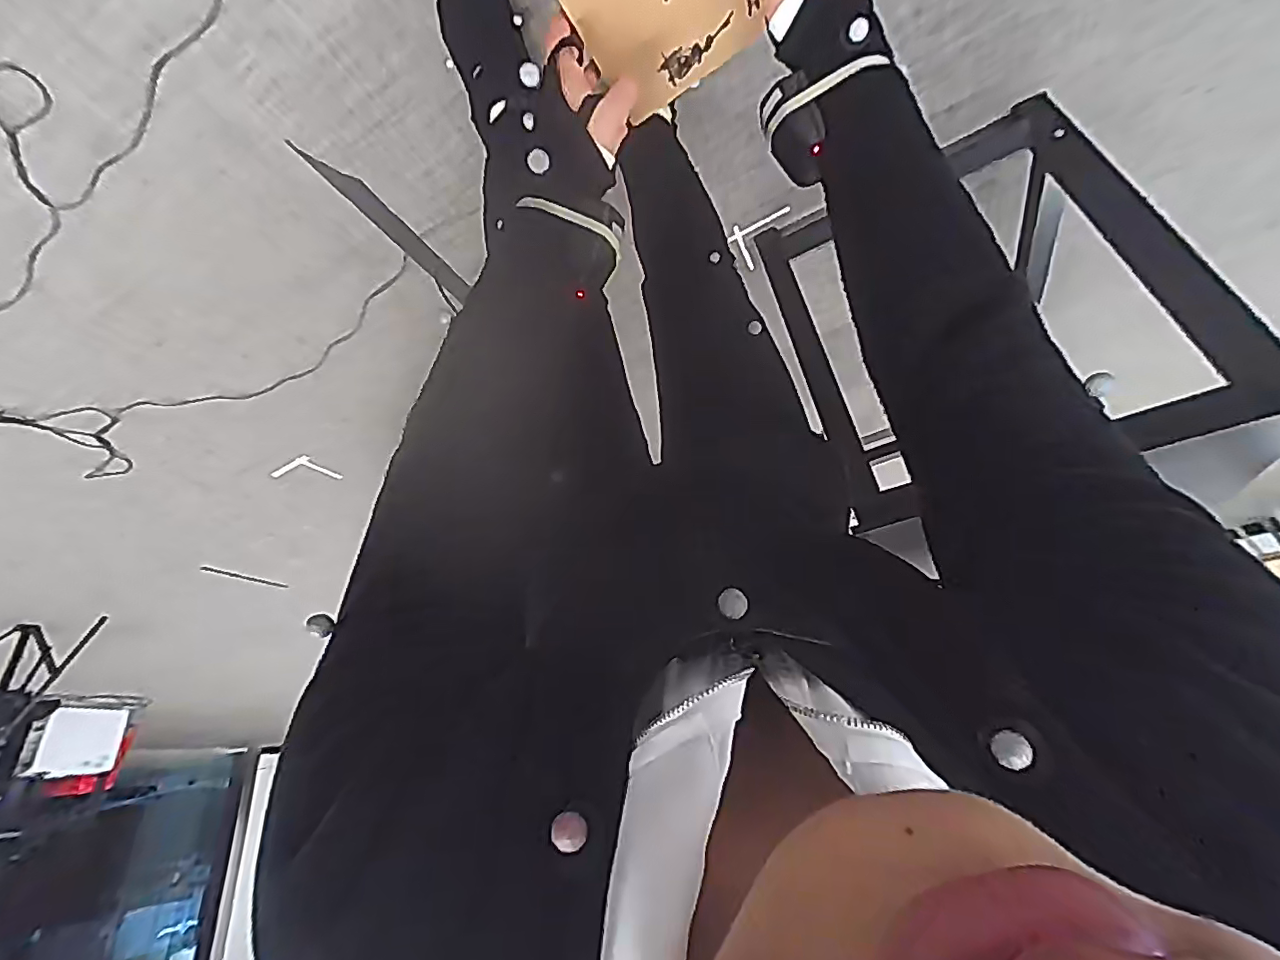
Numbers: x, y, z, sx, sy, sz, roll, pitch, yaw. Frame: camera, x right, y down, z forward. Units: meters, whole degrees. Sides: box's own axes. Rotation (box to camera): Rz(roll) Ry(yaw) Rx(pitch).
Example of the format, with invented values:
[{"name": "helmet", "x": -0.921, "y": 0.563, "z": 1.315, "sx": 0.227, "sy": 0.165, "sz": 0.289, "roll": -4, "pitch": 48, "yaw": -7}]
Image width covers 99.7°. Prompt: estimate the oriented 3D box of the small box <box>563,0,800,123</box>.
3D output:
[{"name": "small box", "x": 0.008, "y": -0.459, "z": 0.445, "sx": 0.168, "sy": 0.176, "sz": 0.179, "roll": -23, "pitch": 148, "yaw": 22}]
